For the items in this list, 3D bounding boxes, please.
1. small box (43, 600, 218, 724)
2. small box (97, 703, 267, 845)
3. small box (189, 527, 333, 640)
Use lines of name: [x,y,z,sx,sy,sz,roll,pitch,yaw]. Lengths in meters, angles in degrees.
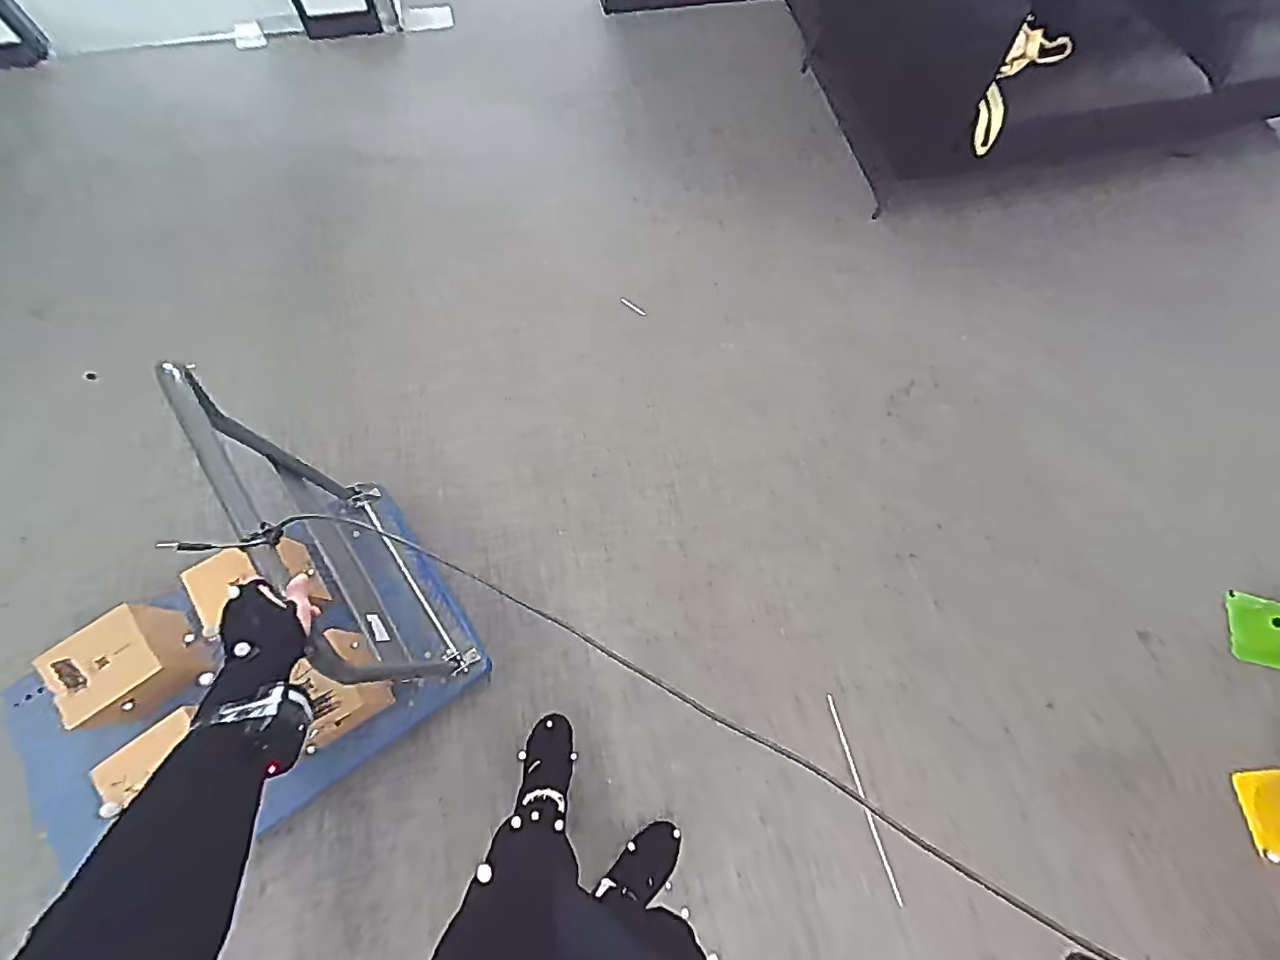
small box: [-1.044,0.377,1.123,0.179,0.176,0.168,-37,77,-16]
small box: [-0.883,0.563,1.068,0.179,0.176,0.168,-37,76,-16]
small box: [-0.825,0.235,1.193,0.179,0.176,0.168,-32,76,-15]
